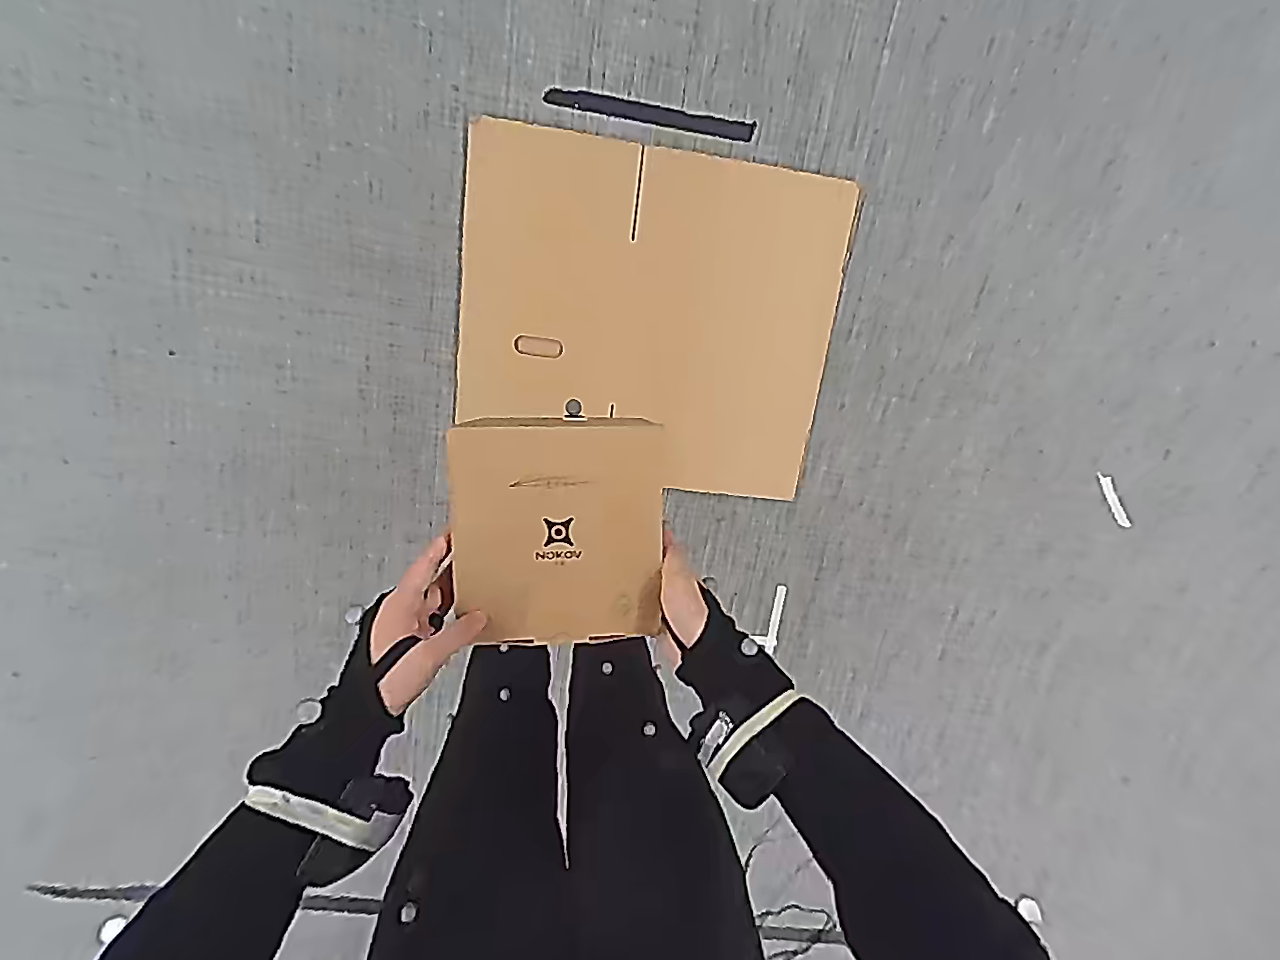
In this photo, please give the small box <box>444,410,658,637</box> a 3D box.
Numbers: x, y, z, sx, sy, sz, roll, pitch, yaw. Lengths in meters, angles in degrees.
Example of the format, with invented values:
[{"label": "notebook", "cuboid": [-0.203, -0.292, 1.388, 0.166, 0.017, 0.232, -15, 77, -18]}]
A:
[{"label": "small box", "cuboid": [-0.075, 0.026, 0.507, 0.168, 0.176, 0.179, -2, 99, -6]}]
